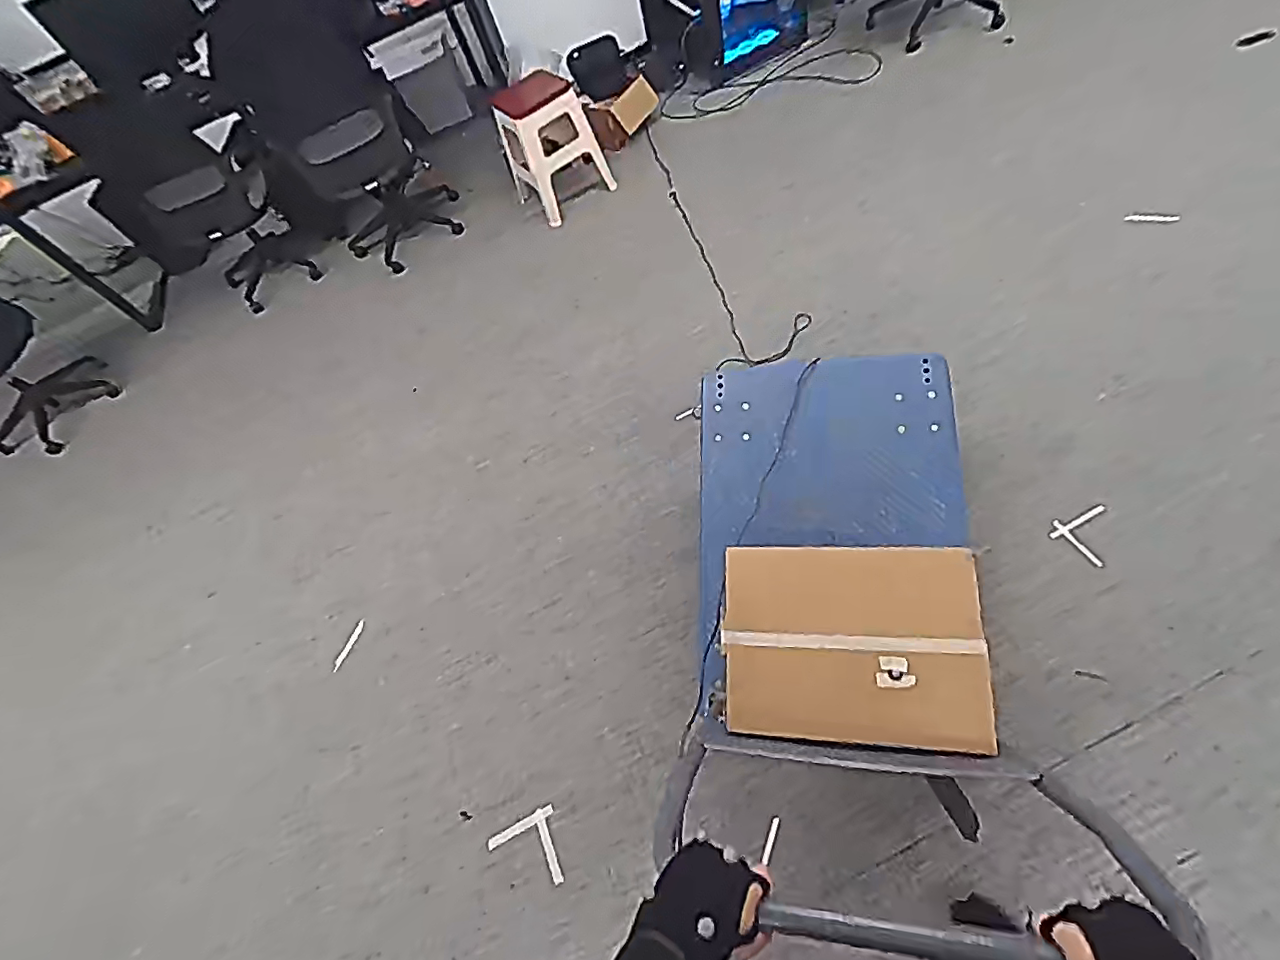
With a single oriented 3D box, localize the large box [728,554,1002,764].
[{"bbox_3d":[0.379,0.314,1.015,0.408,0.320,0.320,-1,76,14],"label":"large box"}]
